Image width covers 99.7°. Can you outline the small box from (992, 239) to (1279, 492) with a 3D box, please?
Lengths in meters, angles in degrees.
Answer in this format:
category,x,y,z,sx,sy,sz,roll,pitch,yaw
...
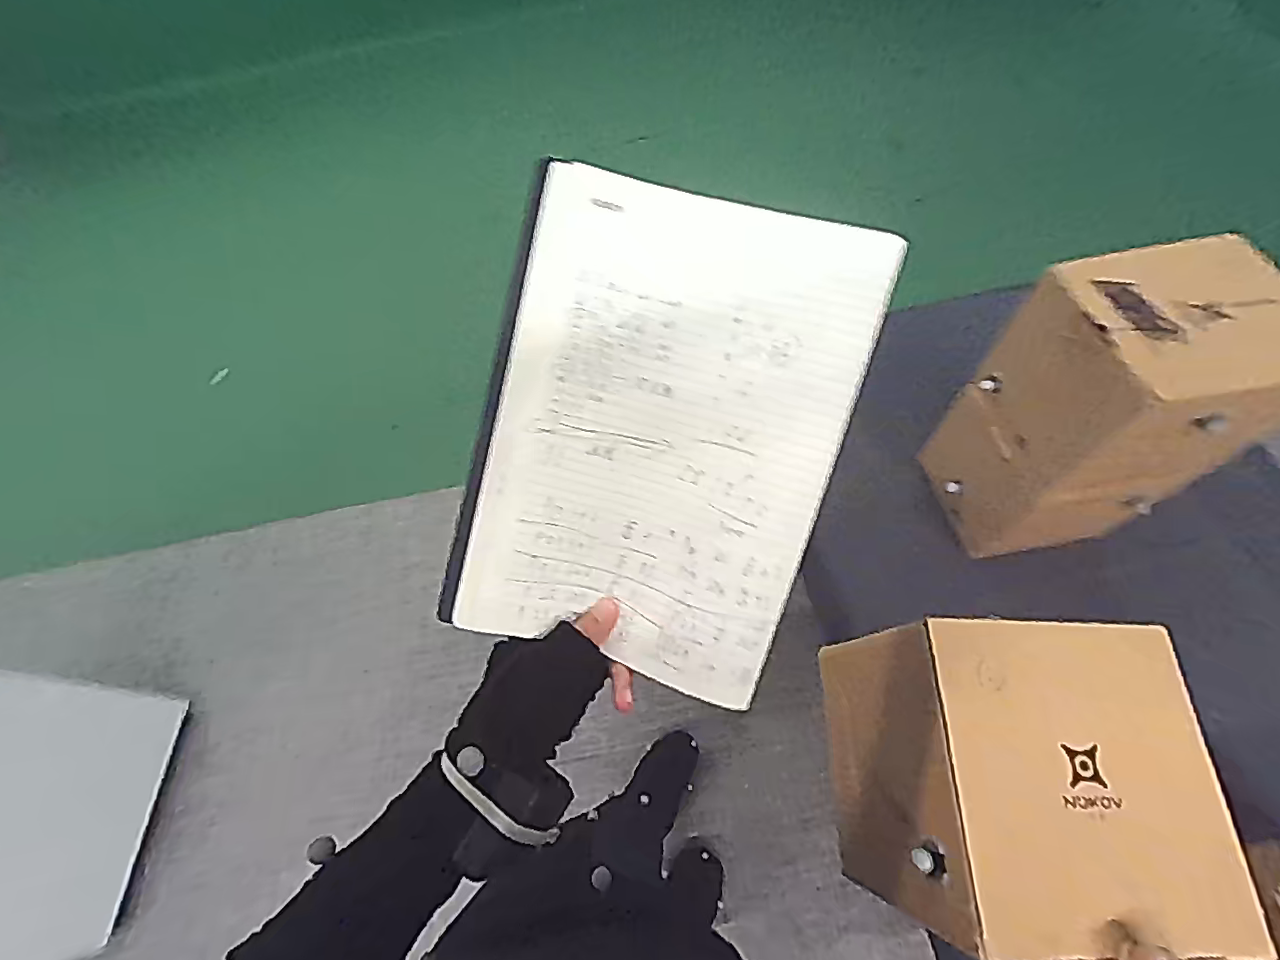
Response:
category,x,y,z,sx,sy,sz,roll,pitch,yaw
small box,0.489,-0.102,0.534,0.179,0.176,0.168,-9,60,0

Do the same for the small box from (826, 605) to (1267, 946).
category,x,y,z,sx,sy,sz,roll,pitch,yaw
small box,0.251,0.195,0.391,0.168,0.176,0.179,3,67,-5

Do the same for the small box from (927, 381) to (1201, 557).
category,x,y,z,sx,sy,sz,roll,pitch,yaw
small box,0.501,-0.019,0.675,0.179,0.176,0.168,-10,60,0
